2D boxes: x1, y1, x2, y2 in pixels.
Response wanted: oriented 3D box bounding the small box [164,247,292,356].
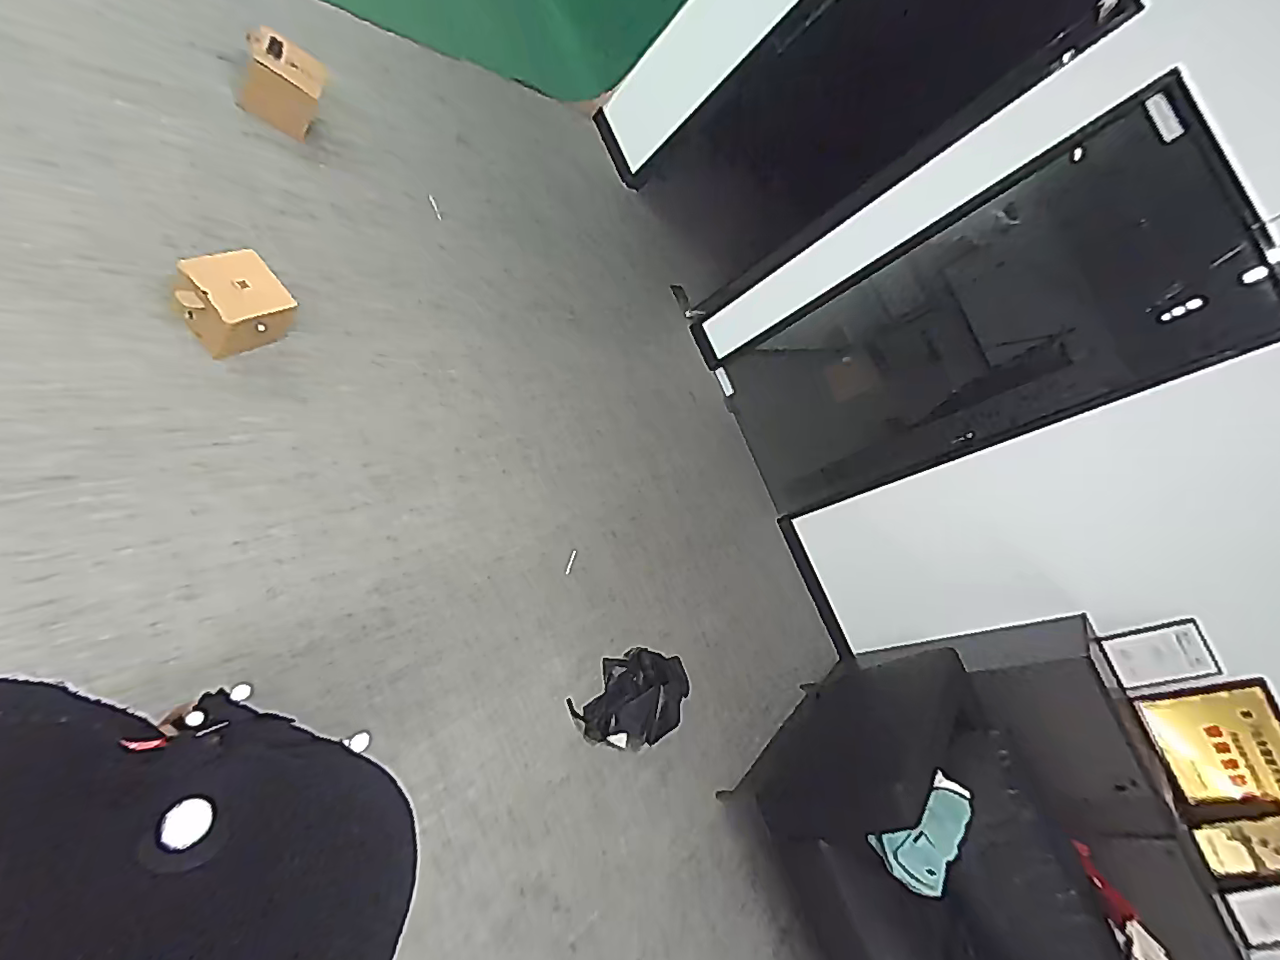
[{"bbox_3d":[-1.002,-0.431,1.312,0.168,0.176,0.179,54,40,-11],"label":"small box"}]
